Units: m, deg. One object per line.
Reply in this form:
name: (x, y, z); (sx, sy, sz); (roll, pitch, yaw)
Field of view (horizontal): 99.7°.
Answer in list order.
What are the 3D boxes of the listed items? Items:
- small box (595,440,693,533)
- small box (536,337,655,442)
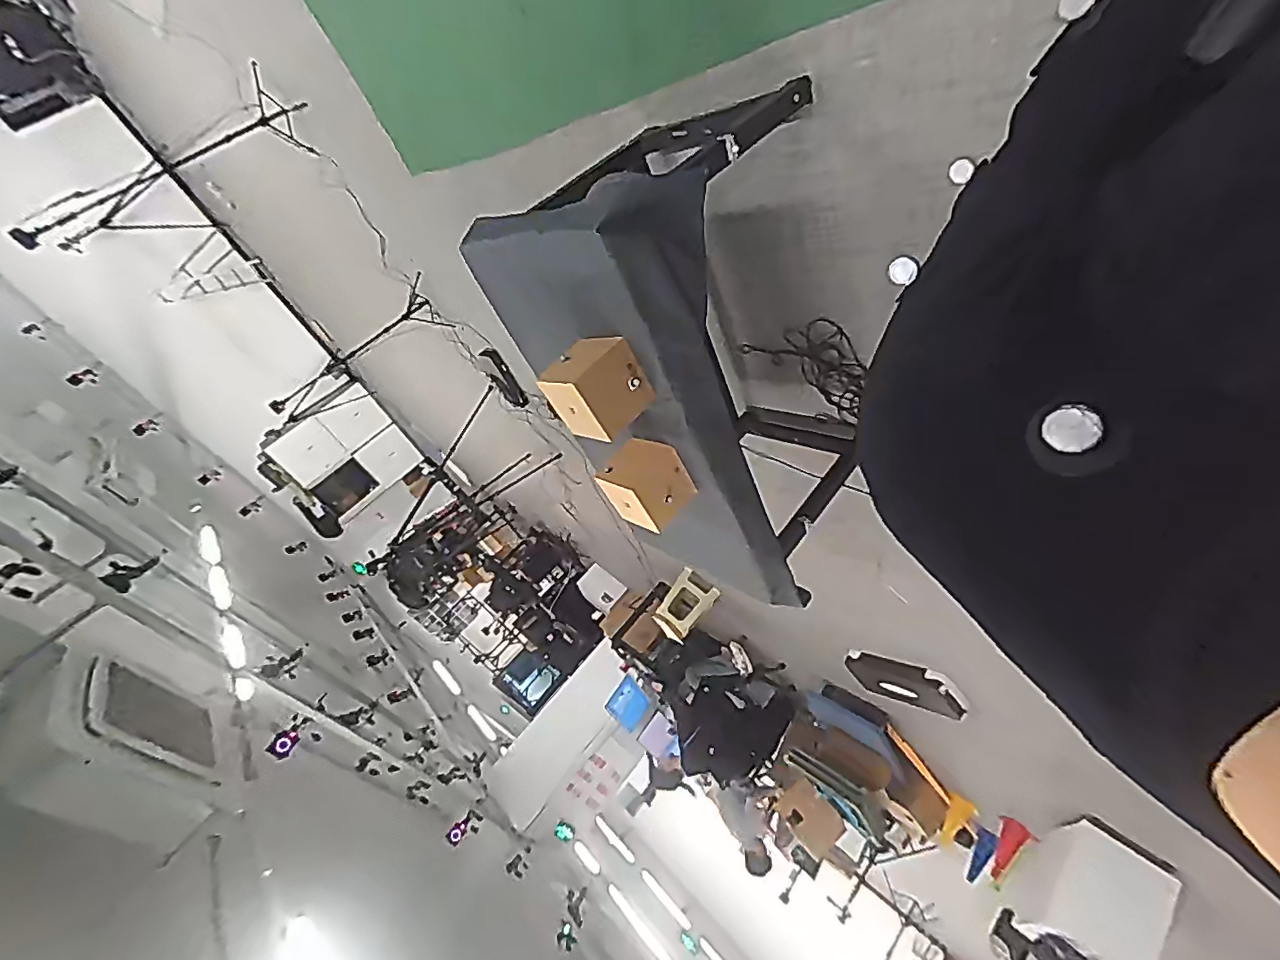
small box: (0.020, 0.011, 1.444); (0.179, 0.176, 0.168); (17, 147, 51)
small box: (-0.099, -0.209, 1.237); (0.179, 0.176, 0.168); (14, 146, 51)
